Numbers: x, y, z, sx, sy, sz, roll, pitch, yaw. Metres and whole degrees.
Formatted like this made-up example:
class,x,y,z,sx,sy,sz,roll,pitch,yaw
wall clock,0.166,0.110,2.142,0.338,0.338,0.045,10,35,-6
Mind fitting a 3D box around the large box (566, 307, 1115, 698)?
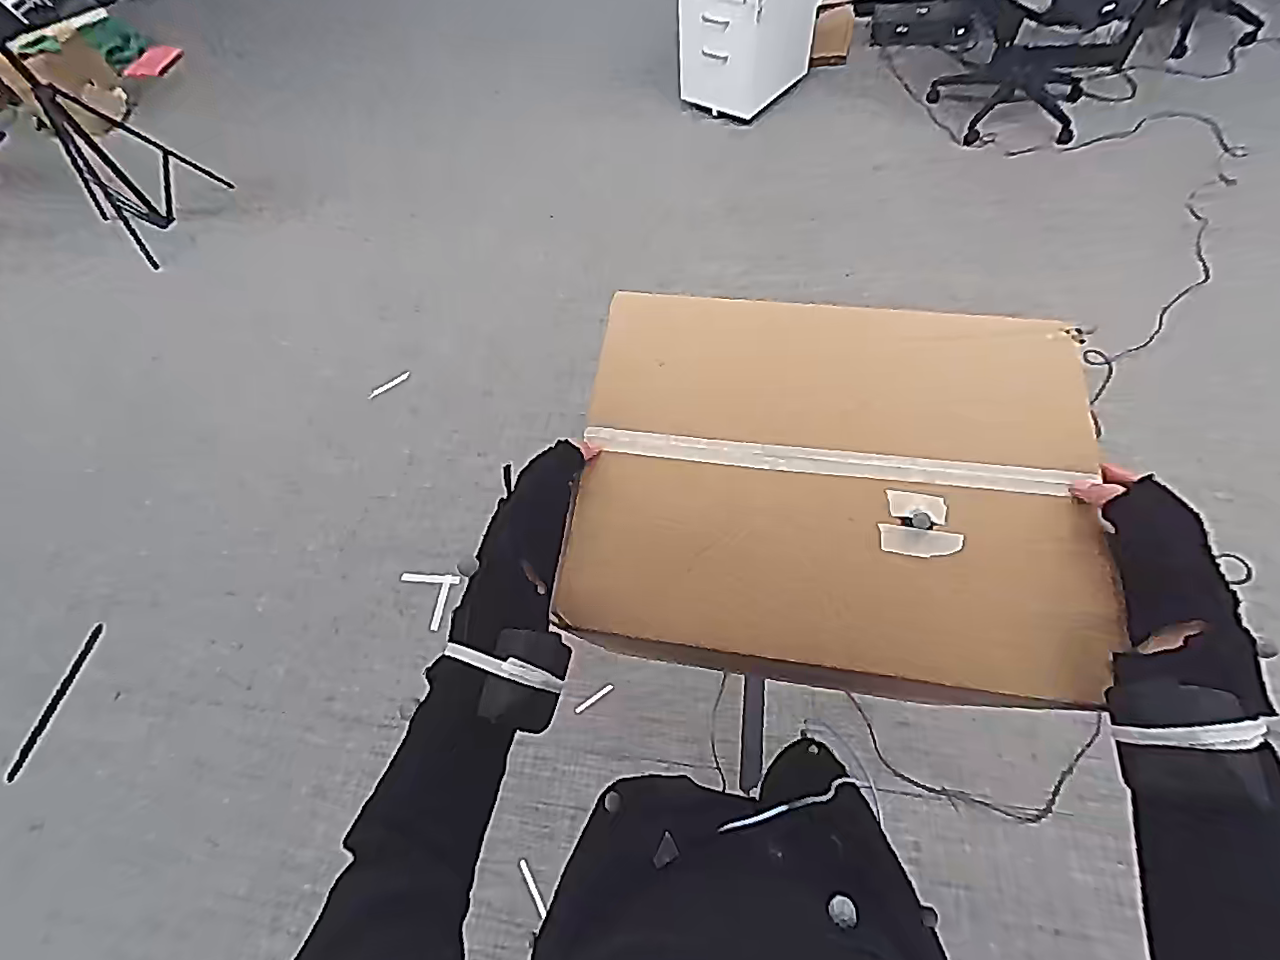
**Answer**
class,x,y,z,sx,sy,sz,roll,pitch,yaw
large box,0.165,0.045,0.587,0.408,0.320,0.320,6,70,7
